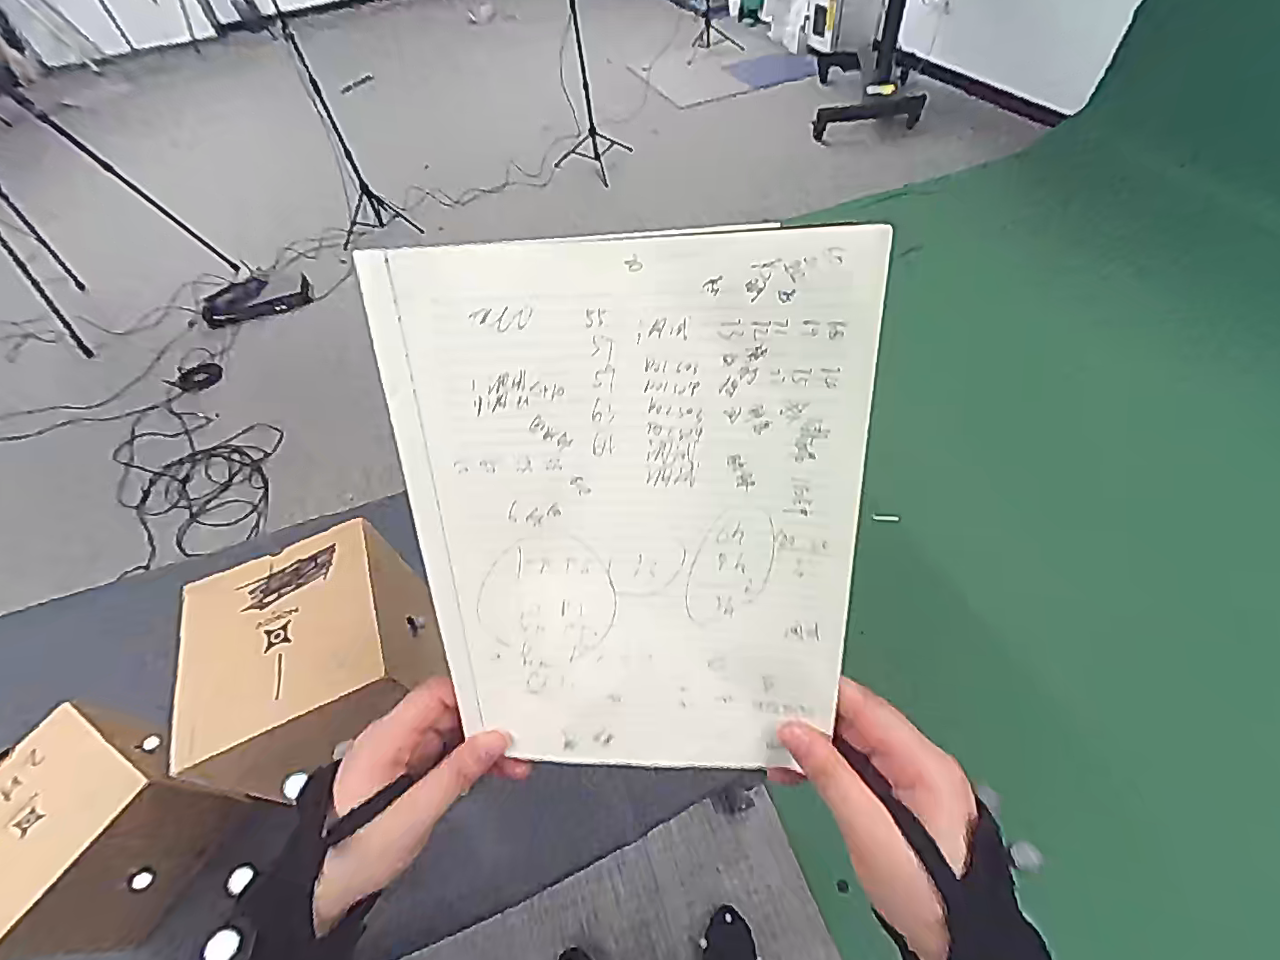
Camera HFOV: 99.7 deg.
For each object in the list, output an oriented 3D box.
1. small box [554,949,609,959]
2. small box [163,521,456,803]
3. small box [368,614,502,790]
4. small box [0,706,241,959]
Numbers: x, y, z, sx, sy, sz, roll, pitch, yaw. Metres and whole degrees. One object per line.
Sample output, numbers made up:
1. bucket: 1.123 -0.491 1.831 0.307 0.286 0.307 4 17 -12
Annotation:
1. small box: -0.098 1.000 0.971 0.176 0.168 0.179 42 37 1
2. small box: -0.299 0.177 0.521 0.168 0.176 0.179 -24 53 -10
3. small box: -0.290 0.267 0.660 0.179 0.176 0.168 3 53 11
4. small box: -0.607 0.388 0.603 0.179 0.176 0.168 21 57 21
